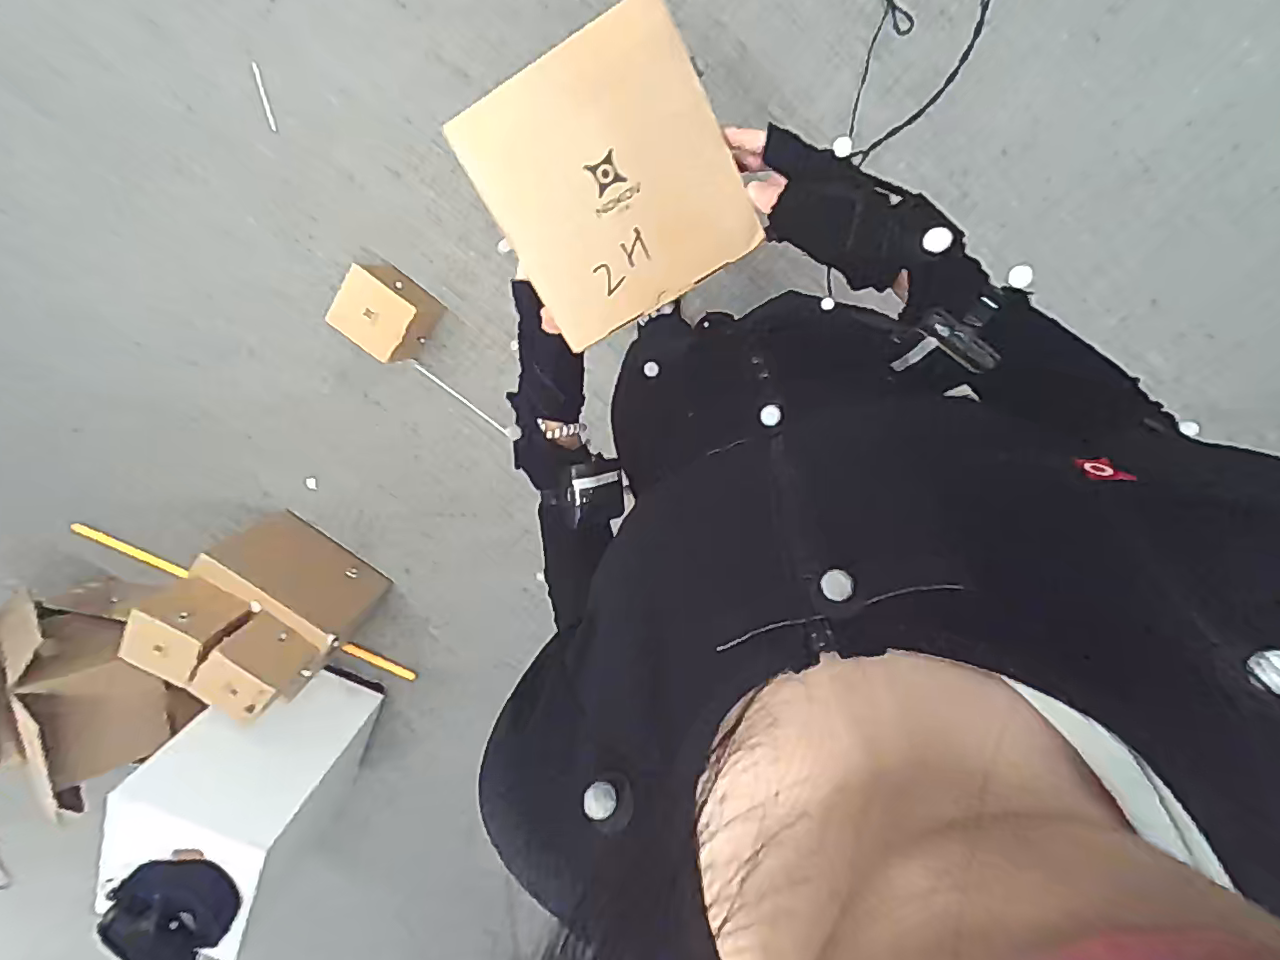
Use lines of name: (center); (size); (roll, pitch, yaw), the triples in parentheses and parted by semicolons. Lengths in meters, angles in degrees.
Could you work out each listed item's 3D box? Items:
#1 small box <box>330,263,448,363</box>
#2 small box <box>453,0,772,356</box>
small box: (-0.623, -0.418, 1.357); (0.179, 0.176, 0.168); (37, 109, -9)
small box: (-0.016, -0.225, 0.445); (0.168, 0.176, 0.179); (-26, 109, 10)
